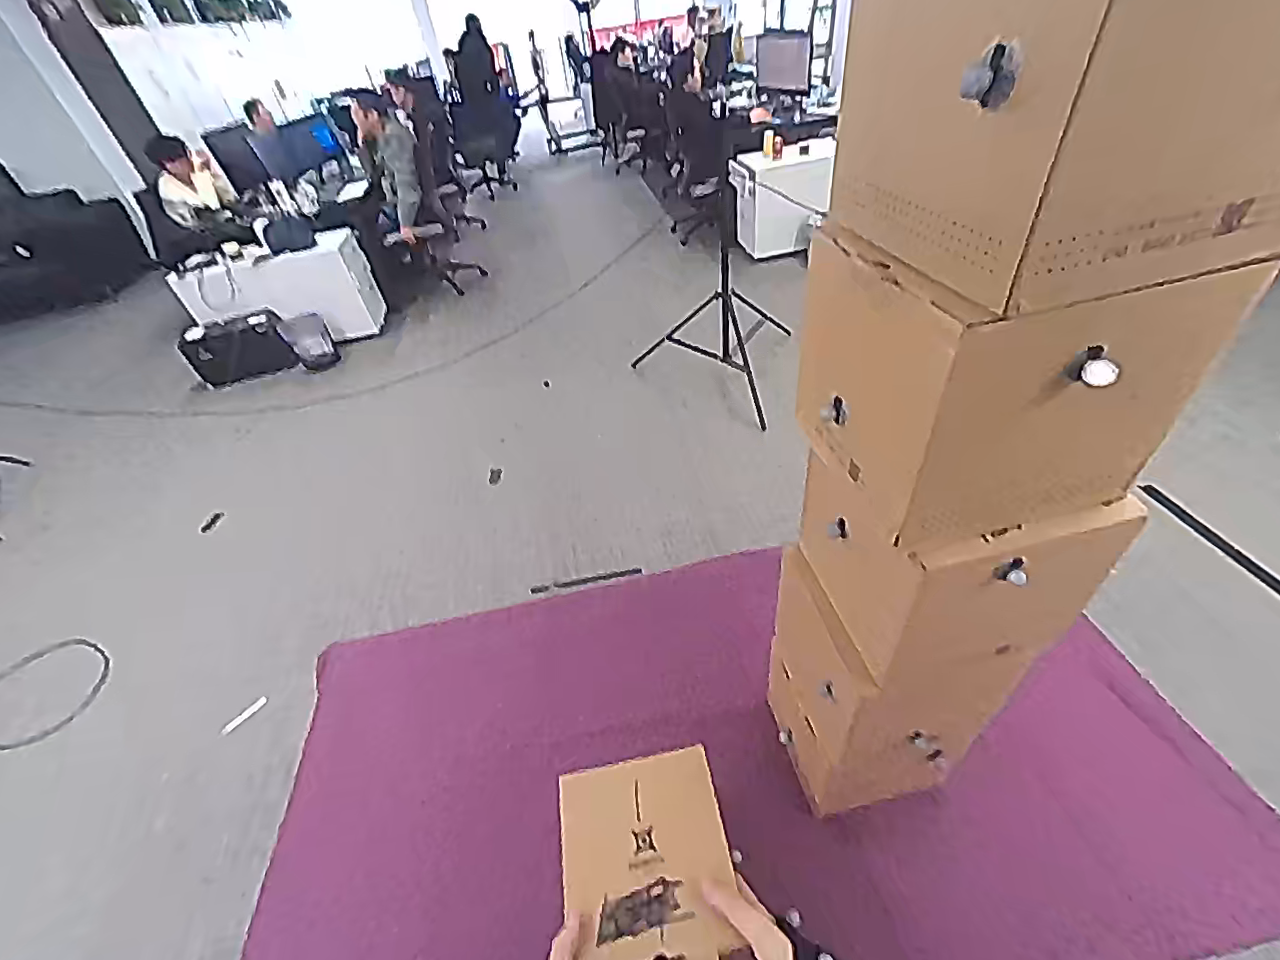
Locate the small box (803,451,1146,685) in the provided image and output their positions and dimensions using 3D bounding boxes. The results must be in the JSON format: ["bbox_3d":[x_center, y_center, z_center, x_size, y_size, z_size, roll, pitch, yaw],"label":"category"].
[{"bbox_3d":[0.254,0.045,0.471,0.168,0.176,0.179,-13,41,-4],"label":"small box"}]

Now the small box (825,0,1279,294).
[{"bbox_3d":[0.212,-0.206,0.268,0.168,0.176,0.179,-13,41,-6],"label":"small box"}]

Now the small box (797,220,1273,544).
[{"bbox_3d":[0.225,-0.082,0.372,0.179,0.176,0.168,-14,42,-4],"label":"small box"}]

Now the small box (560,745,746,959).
[{"bbox_3d":[0.014,0.425,0.589,0.168,0.176,0.179,-12,41,-2],"label":"small box"}]

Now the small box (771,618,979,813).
[{"bbox_3d":[0.277,0.291,0.687,0.179,0.176,0.168,-14,41,-3],"label":"small box"}]
